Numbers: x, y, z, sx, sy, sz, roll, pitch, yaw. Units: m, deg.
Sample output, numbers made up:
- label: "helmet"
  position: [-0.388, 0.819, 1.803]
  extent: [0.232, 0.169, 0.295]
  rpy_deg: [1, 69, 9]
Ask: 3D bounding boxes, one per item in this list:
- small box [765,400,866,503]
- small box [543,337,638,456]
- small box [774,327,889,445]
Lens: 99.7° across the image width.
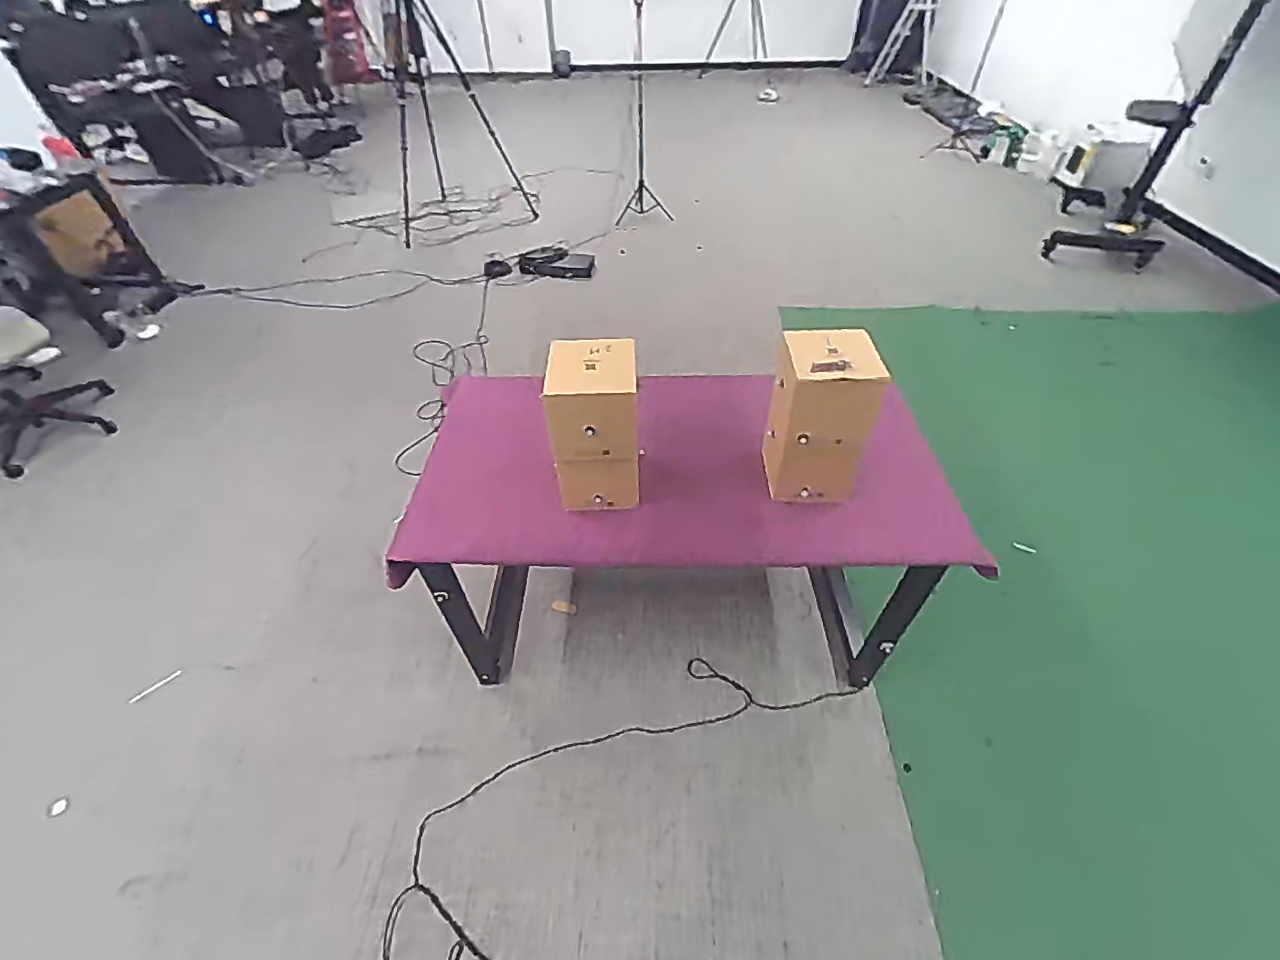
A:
- label: "small box"
  position: [0.373, -0.070, 1.188]
  extent: [0.168, 0.176, 0.179]
  rpy_deg: [0, 46, 4]
- label: "small box"
  position: [-0.088, -0.158, 1.057]
  extent: [0.168, 0.176, 0.179]
  rpy_deg: [-1, 46, 0]
- label: "small box"
  position: [0.366, -0.183, 1.069]
  extent: [0.168, 0.176, 0.179]
  rpy_deg: [0, 44, 3]
